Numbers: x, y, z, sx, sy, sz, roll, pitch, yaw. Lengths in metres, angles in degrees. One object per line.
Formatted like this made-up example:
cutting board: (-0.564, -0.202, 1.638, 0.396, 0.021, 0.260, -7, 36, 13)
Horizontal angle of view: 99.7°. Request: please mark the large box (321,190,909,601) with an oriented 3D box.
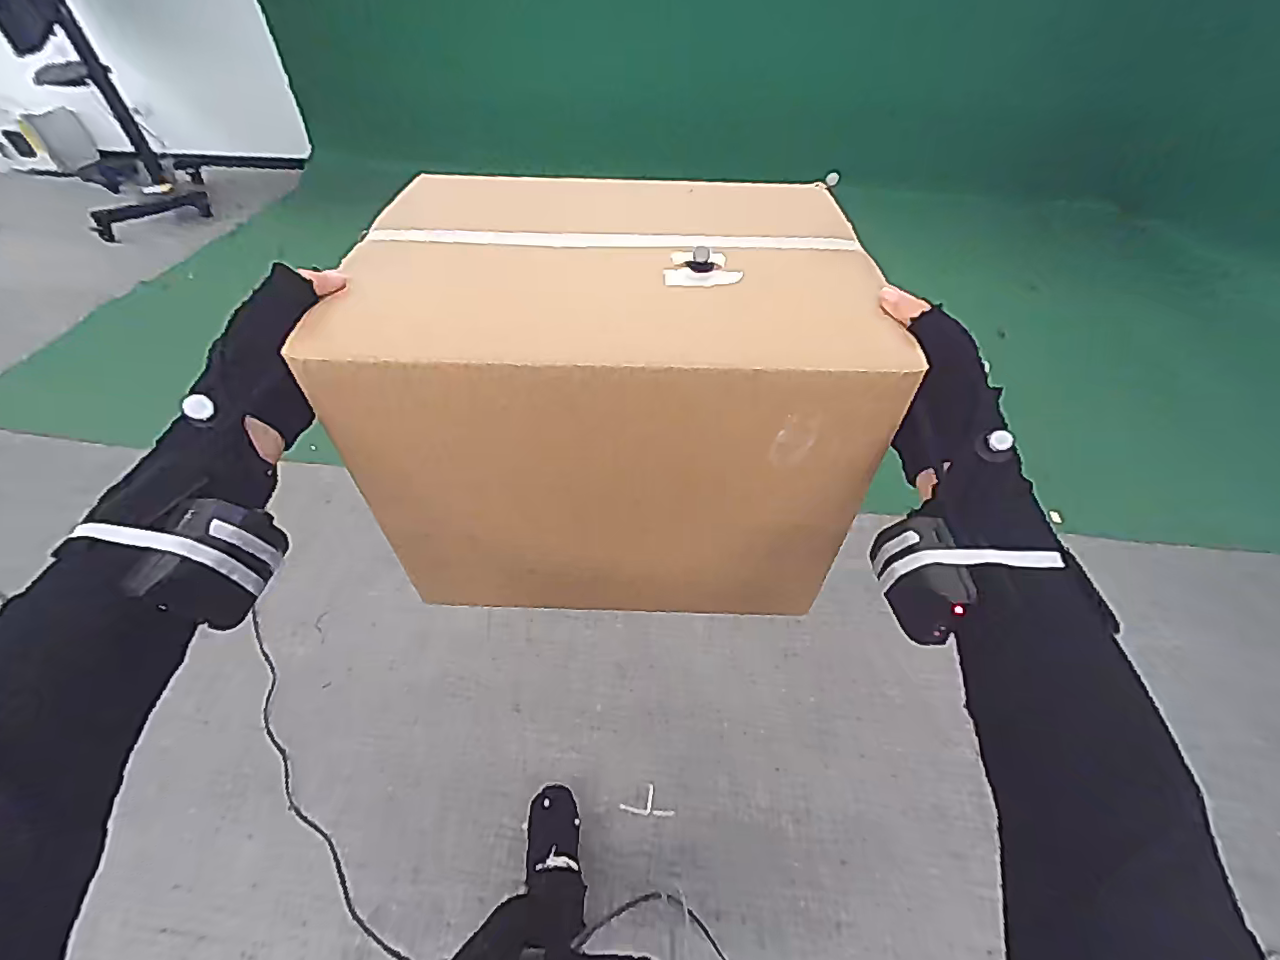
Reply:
large box: (-0.020, -0.082, 0.568, 0.408, 0.320, 0.320, 2, 48, -1)
